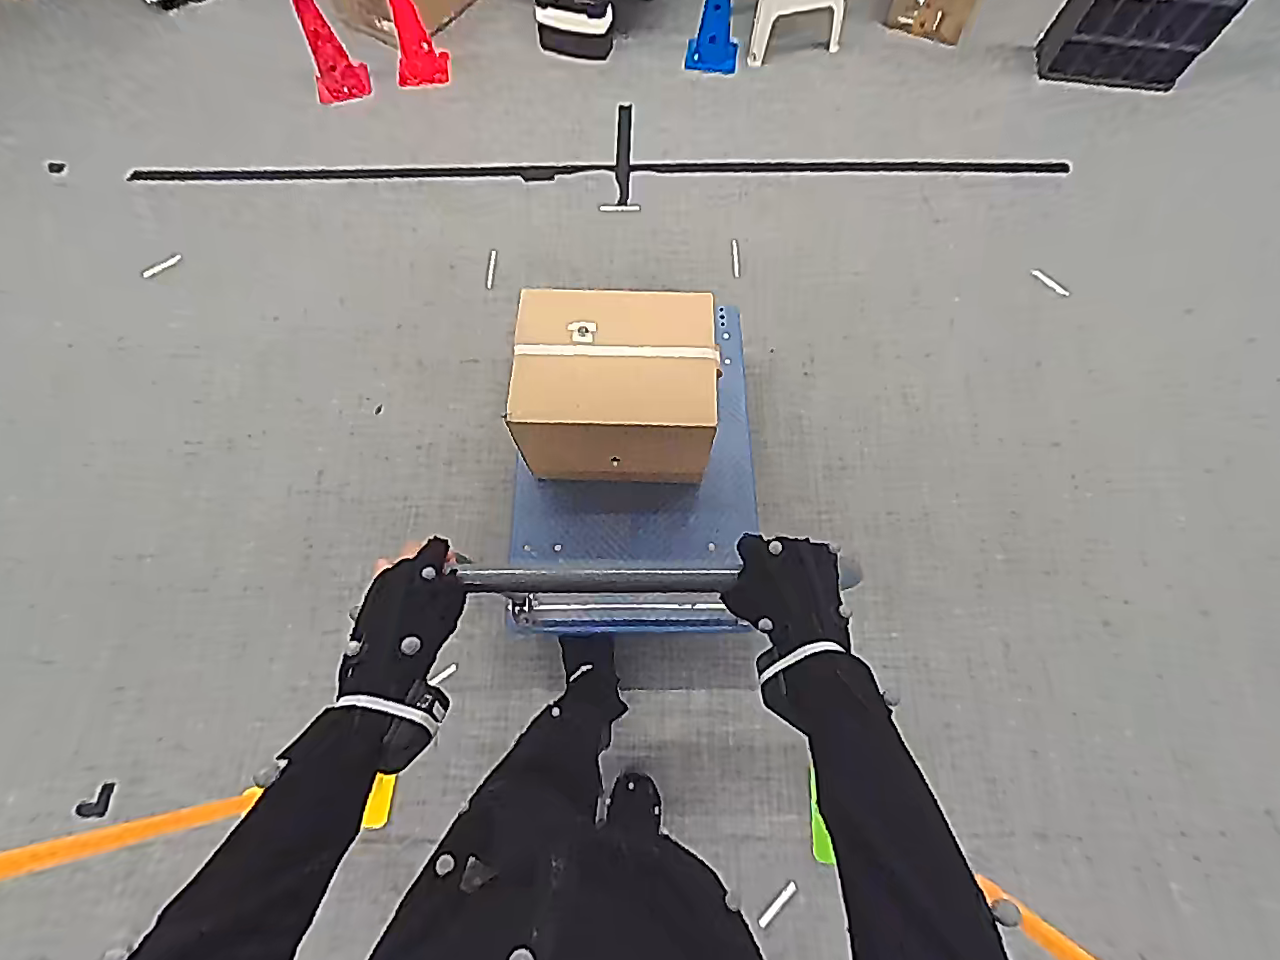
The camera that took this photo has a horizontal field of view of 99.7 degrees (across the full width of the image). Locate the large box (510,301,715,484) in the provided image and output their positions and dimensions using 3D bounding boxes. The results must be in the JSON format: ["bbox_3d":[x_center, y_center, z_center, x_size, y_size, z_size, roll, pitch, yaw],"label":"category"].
[{"bbox_3d":[-0.048,-0.183,1.230,0.408,0.320,0.320,1,69,1],"label":"large box"}]

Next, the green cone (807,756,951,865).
[{"bbox_3d":[0.478,0.670,1.044,0.202,0.368,0.200,5,68,1],"label":"green cone"}]
